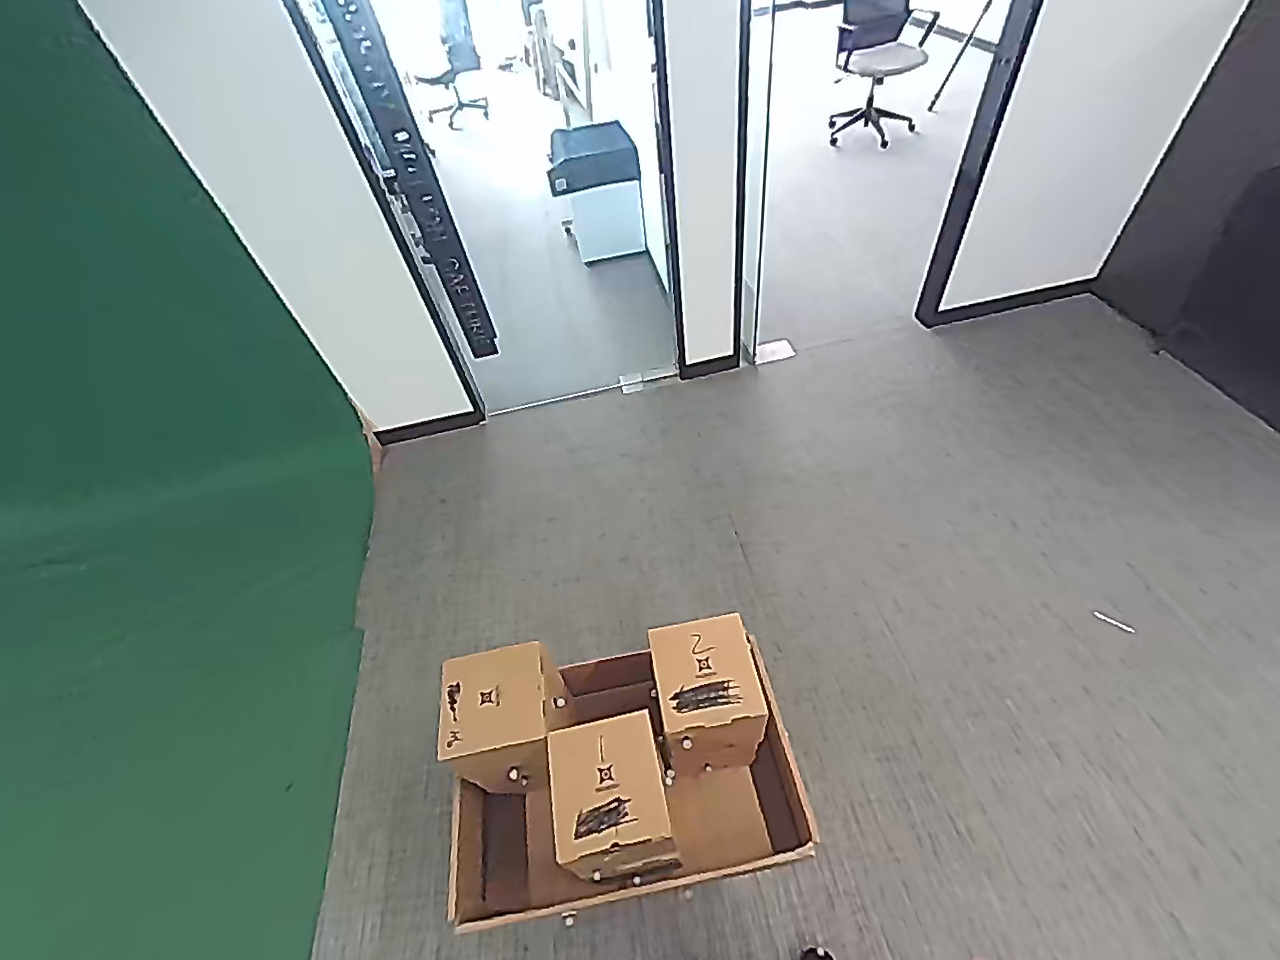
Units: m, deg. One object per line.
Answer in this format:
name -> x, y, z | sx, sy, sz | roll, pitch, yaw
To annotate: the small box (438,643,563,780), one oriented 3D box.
small box -> -0.236, 0.412, 0.957 | 0.179, 0.176, 0.168 | -10, 49, -2
